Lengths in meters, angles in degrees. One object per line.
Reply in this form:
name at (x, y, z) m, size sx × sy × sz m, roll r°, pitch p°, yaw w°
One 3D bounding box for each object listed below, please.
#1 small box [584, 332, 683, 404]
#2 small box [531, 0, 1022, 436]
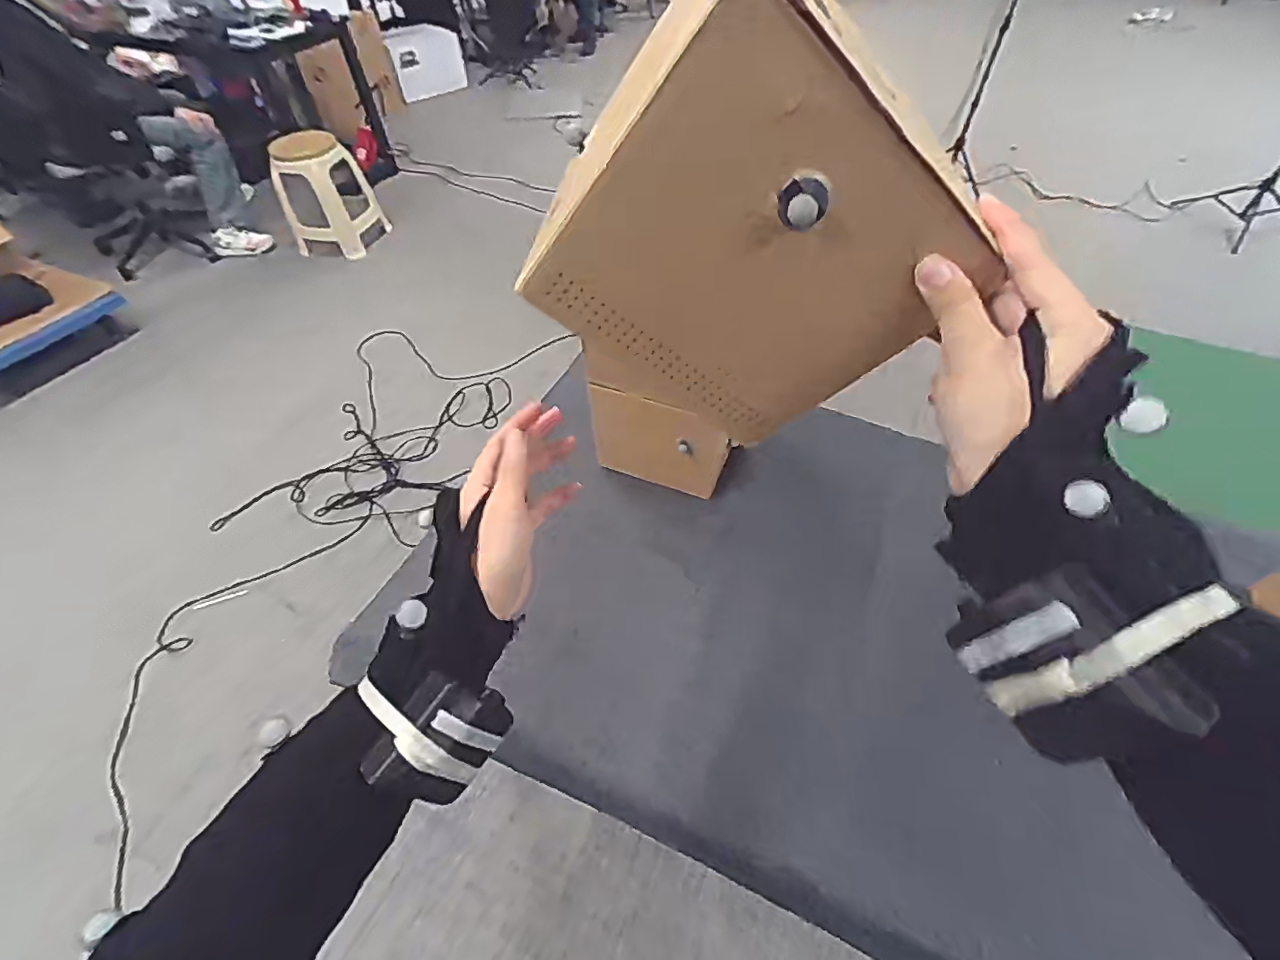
small box at (0.038, -0.212, 0.639) m, size 0.179 × 0.176 × 0.168 m, roll 17°, pitch 57°, yaw 13°
small box at (0.062, -0.153, 0.307) m, size 0.179 × 0.176 × 0.168 m, roll 30°, pitch 46°, yaw -27°
